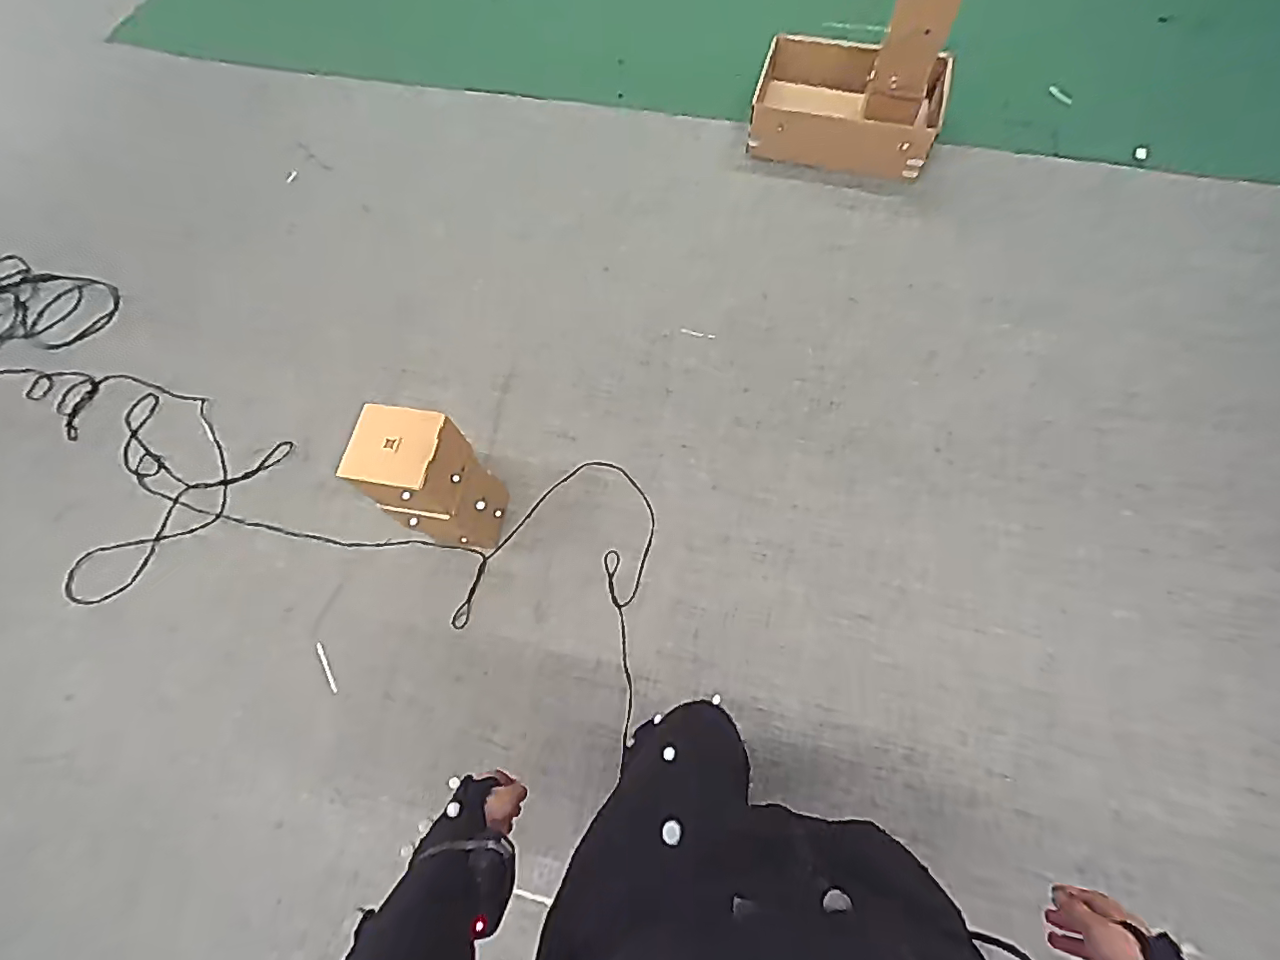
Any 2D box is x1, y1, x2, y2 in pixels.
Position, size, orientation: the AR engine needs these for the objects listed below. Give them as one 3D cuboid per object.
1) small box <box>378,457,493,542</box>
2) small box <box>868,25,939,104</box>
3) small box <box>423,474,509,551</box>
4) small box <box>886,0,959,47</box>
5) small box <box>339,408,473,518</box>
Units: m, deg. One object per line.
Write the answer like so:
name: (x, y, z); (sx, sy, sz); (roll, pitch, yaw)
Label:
small box: (-0.475, 0.038, 1.282); (0.179, 0.176, 0.168); (9, 69, 7)
small box: (0.842, -1.345, 1.719); (0.168, 0.176, 0.179); (15, 71, 11)
small box: (-0.465, 0.085, 1.439); (0.179, 0.176, 0.168); (5, 67, 6)
small box: (0.830, -1.406, 1.566); (0.168, 0.176, 0.179); (13, 69, 10)
small box: (-0.479, -0.030, 1.134); (0.179, 0.176, 0.168); (8, 68, 6)
